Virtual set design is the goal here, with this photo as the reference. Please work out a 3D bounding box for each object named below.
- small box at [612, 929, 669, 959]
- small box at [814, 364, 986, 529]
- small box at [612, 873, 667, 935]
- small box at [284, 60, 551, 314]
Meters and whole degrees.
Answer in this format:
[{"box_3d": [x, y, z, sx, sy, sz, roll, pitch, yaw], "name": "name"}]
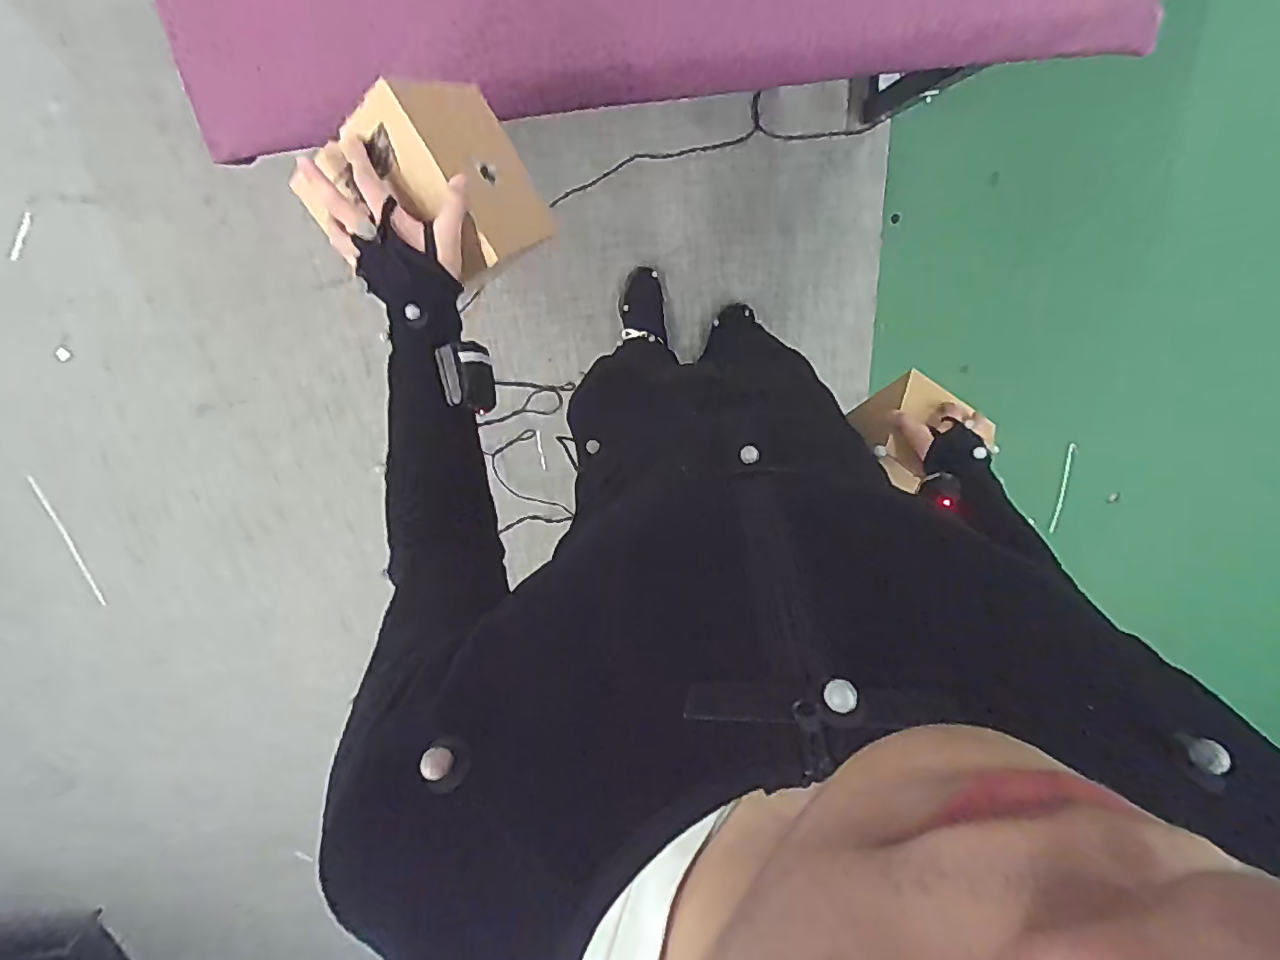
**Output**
[{"box_3d": [0.006, 1.461, 1.581, 0.168, 0.176, 0.179, -4, 111, -1], "name": "small box"}, {"box_3d": [0.411, -0.044, 0.876, 0.168, 0.176, 0.179, 34, 64, -5], "name": "small box"}, {"box_3d": [-0.002, 1.404, 1.732, 0.168, 0.176, 0.179, -4, 111, -2], "name": "small box"}, {"box_3d": [-0.231, -0.320, 0.604, 0.168, 0.176, 0.179, -19, 117, 28], "name": "small box"}]
